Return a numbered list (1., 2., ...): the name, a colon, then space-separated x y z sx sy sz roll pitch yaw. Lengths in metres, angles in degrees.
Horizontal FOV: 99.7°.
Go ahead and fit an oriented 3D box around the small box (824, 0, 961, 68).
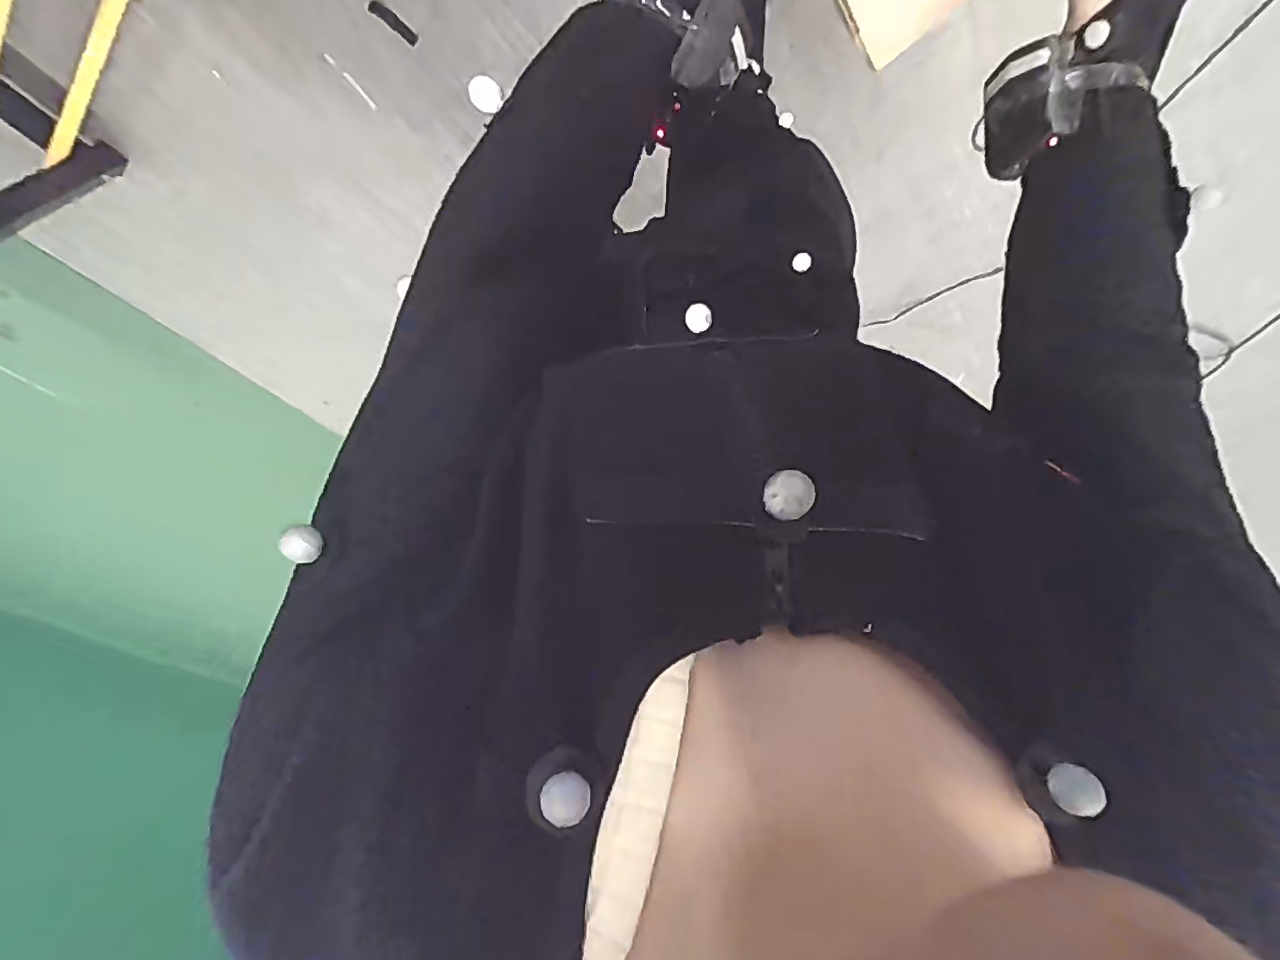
1. small box: 0.186 -0.433 0.355 0.179 0.176 0.168 -25 132 32
